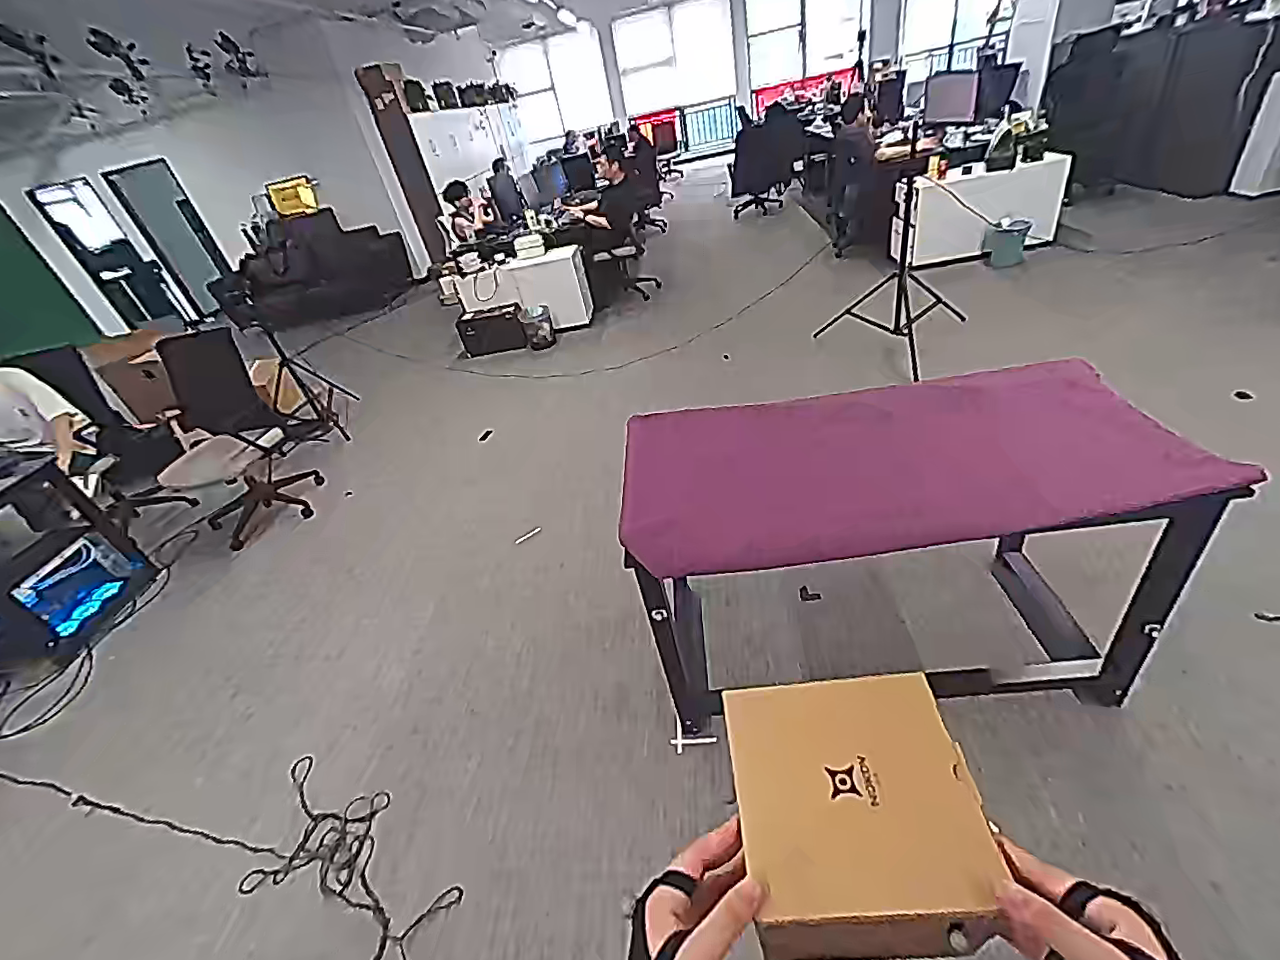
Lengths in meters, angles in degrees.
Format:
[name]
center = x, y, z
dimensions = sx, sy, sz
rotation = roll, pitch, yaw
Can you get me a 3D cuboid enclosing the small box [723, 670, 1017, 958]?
[small box]
center = 0.173, 0.289, 0.467
dimensions = 0.179, 0.176, 0.168
rotation = -8, 40, 6
